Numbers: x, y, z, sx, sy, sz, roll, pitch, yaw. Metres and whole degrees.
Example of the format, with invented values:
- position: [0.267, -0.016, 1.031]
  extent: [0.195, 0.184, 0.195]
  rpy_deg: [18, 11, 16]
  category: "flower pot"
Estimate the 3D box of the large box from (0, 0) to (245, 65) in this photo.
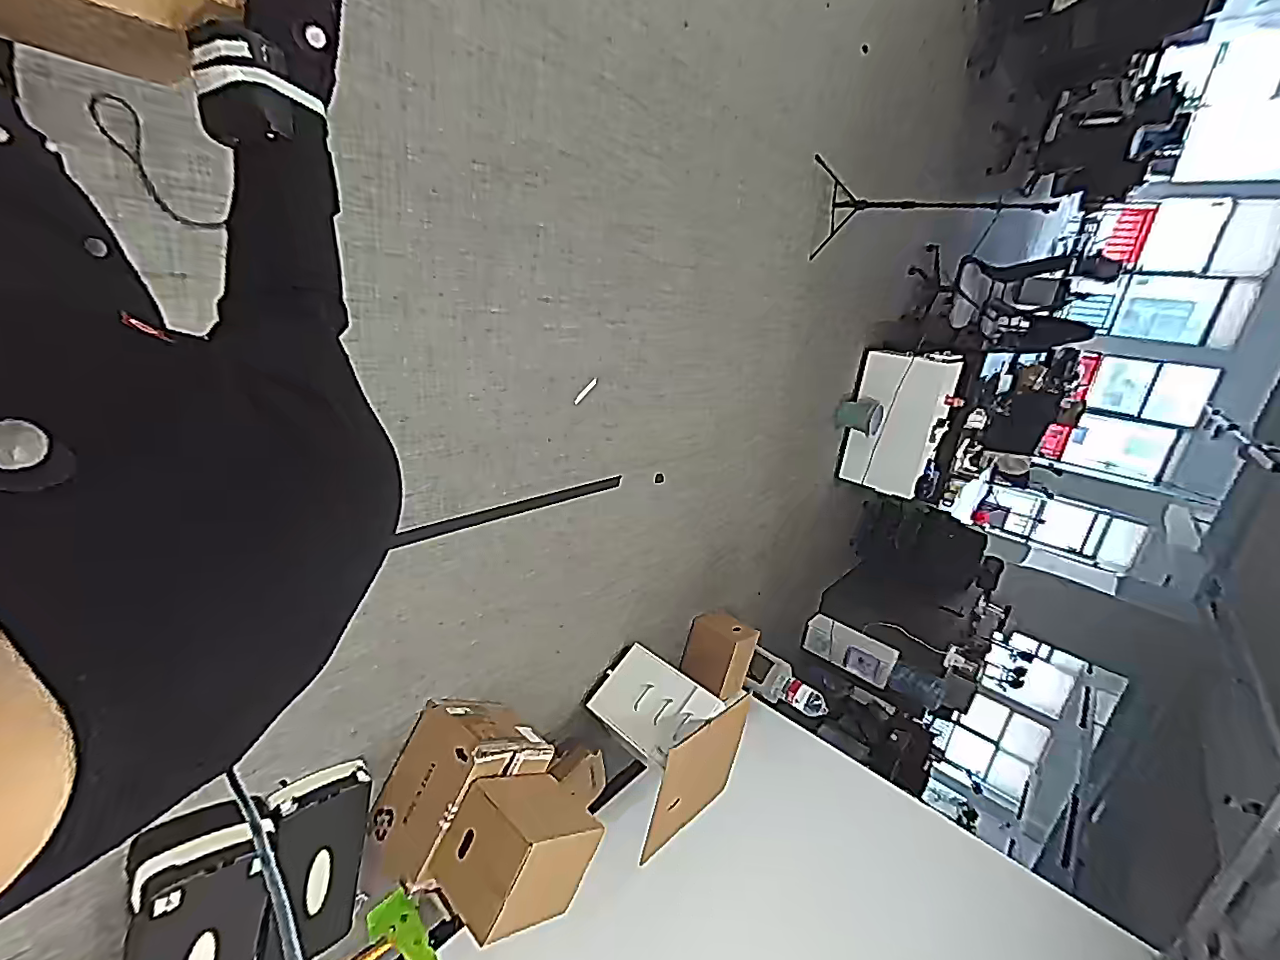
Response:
- position: [-0.512, -0.492, 0.293]
  extent: [0.408, 0.320, 0.320]
  rpy_deg: [-13, 122, -47]
  category: "large box"
